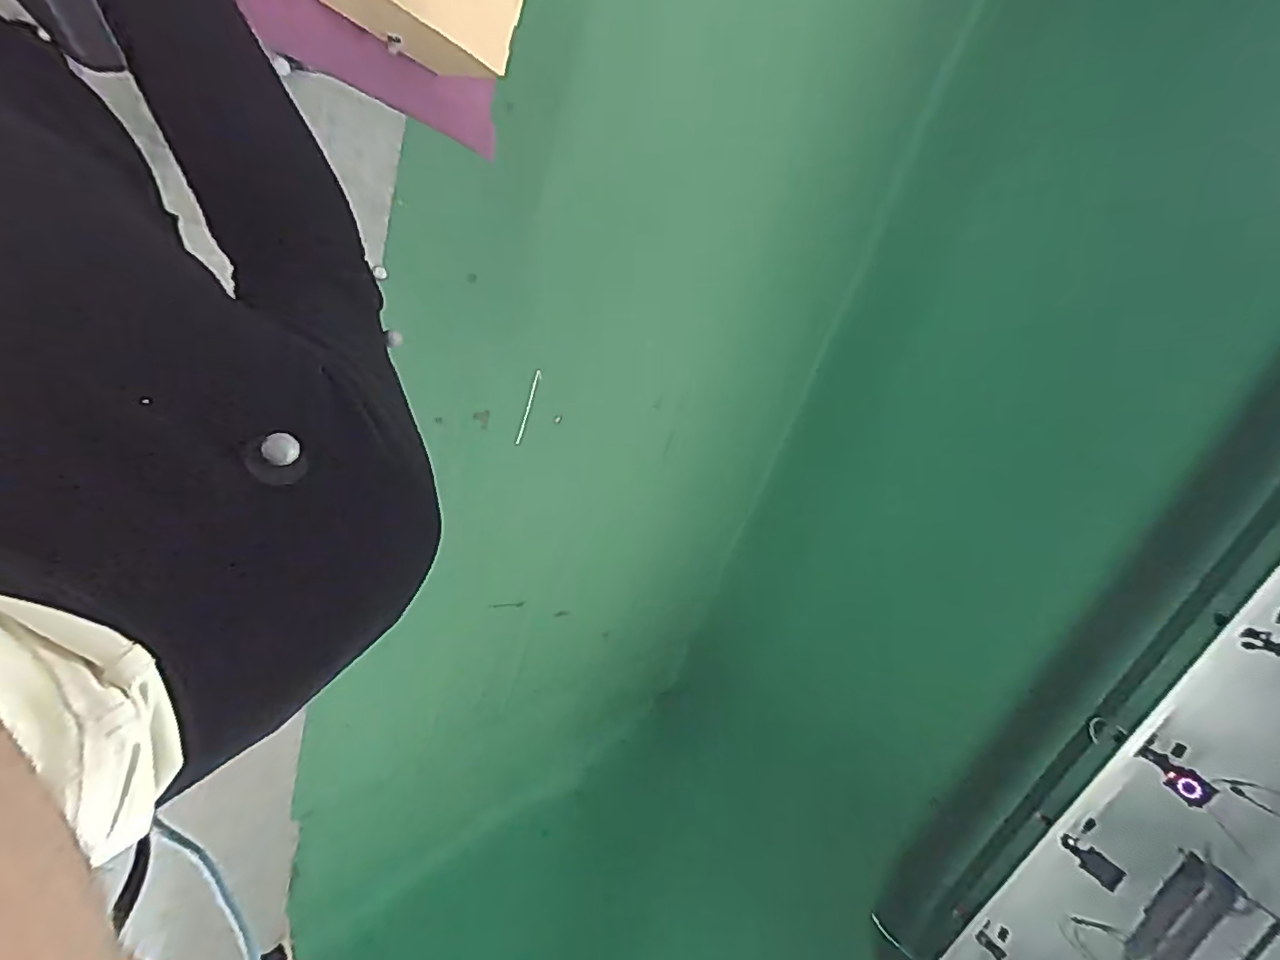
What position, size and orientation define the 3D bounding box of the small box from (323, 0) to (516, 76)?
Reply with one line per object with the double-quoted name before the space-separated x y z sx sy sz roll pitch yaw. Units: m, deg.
"small box" -0.264 -0.623 0.643 0.179 0.176 0.168 -2 117 -52
